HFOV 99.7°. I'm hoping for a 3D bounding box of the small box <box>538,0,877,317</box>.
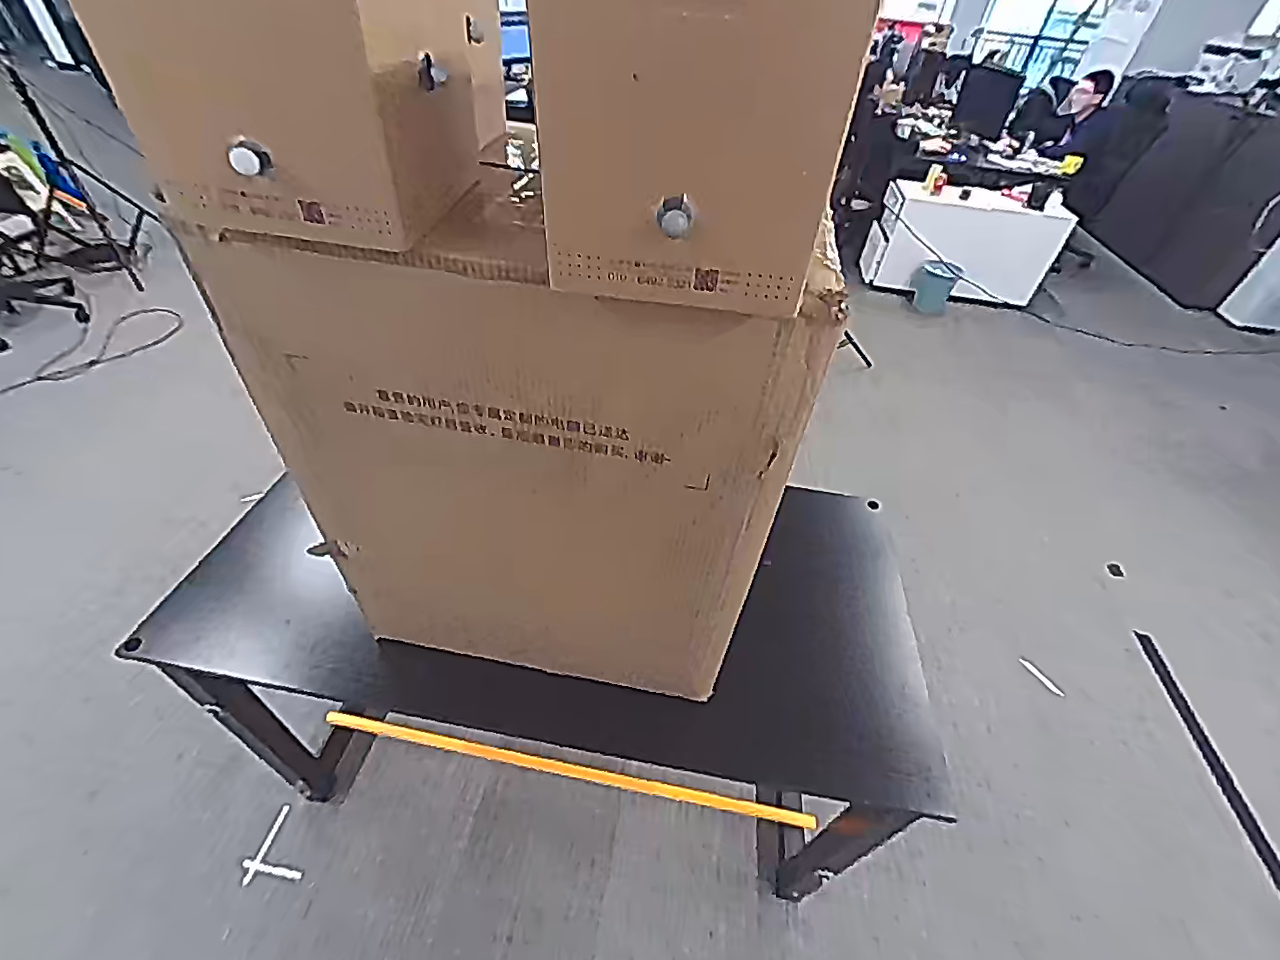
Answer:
[{"bbox_3d":[0.037,-0.233,0.362,0.168,0.176,0.179,8,46,5],"label":"small box"}]
